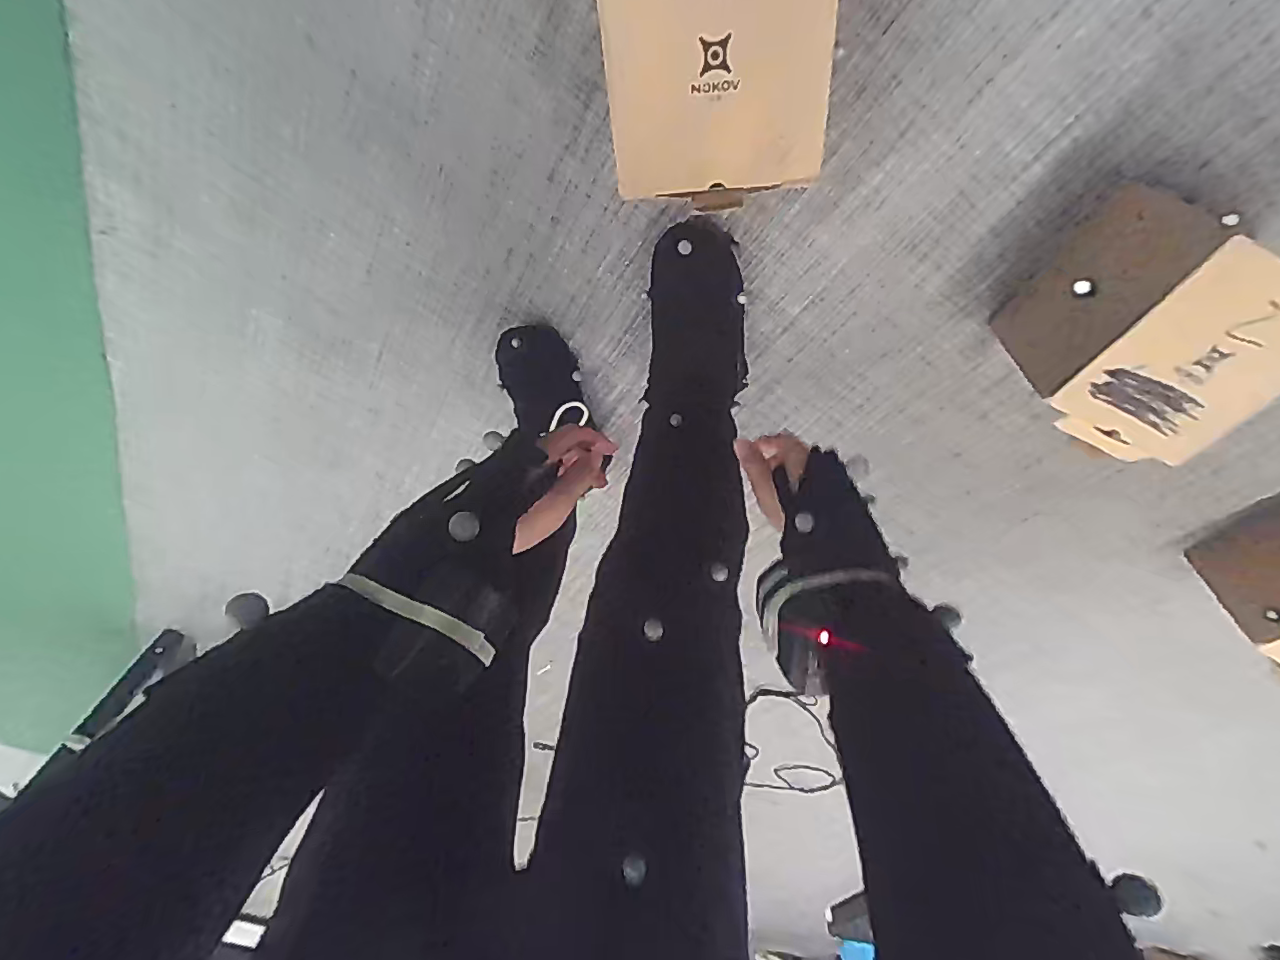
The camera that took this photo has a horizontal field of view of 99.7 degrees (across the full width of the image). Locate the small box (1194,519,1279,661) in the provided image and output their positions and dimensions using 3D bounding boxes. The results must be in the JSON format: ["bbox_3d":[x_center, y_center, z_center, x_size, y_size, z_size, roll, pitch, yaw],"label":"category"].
[{"bbox_3d":[0.940,0.153,0.737,0.168,0.176,0.179,29,132,-15],"label":"small box"}]

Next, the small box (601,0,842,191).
[{"bbox_3d":[0.068,-0.359,0.443,0.168,0.176,0.179,0,131,10],"label":"small box"}]
